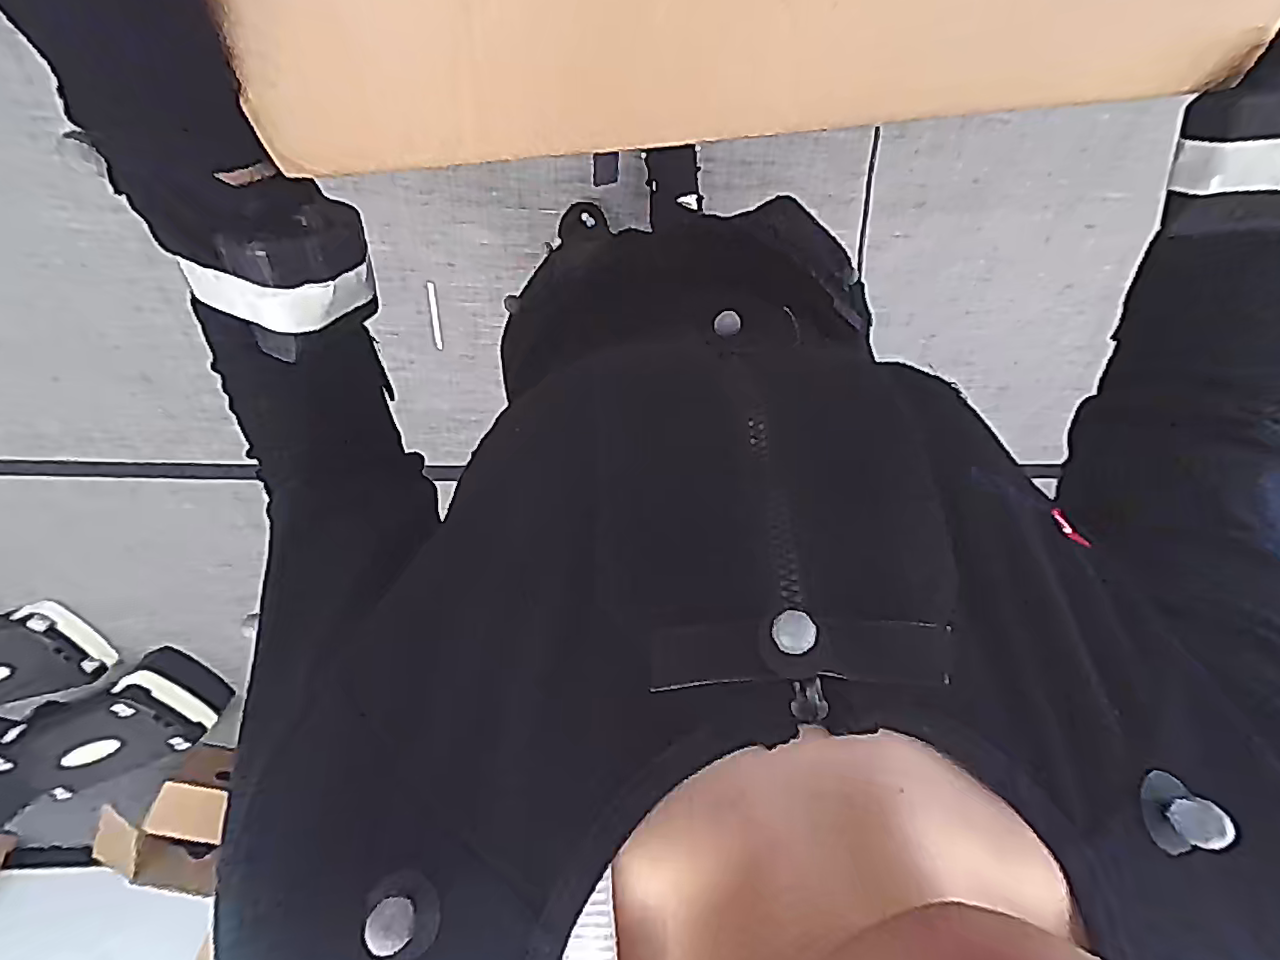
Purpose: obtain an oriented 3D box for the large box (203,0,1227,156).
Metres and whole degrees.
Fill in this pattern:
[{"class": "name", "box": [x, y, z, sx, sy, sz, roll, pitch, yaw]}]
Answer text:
[{"class": "large box", "box": [0.024, -0.371, 0.202, 0.408, 0.320, 0.320, -5, 142, 0]}]
